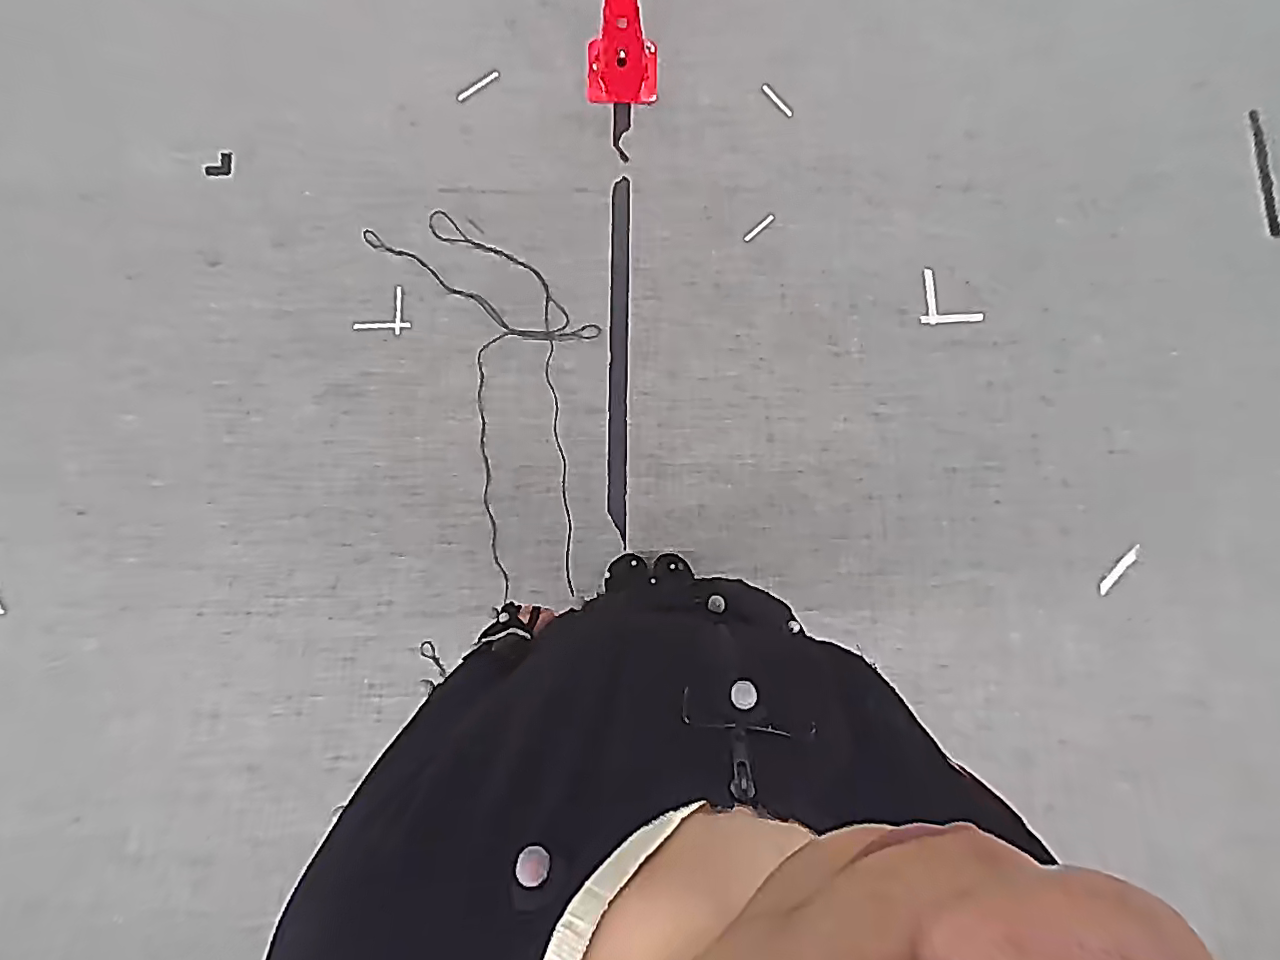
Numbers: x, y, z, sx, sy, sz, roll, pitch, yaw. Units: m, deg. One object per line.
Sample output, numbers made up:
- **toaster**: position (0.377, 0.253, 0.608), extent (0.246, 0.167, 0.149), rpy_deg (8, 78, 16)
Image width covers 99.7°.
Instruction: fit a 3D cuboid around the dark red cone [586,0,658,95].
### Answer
- **dark red cone**: position (-0.053, -1.196, 1.357), extent (0.201, 0.394, 0.202), rpy_deg (-1, 84, 0)
